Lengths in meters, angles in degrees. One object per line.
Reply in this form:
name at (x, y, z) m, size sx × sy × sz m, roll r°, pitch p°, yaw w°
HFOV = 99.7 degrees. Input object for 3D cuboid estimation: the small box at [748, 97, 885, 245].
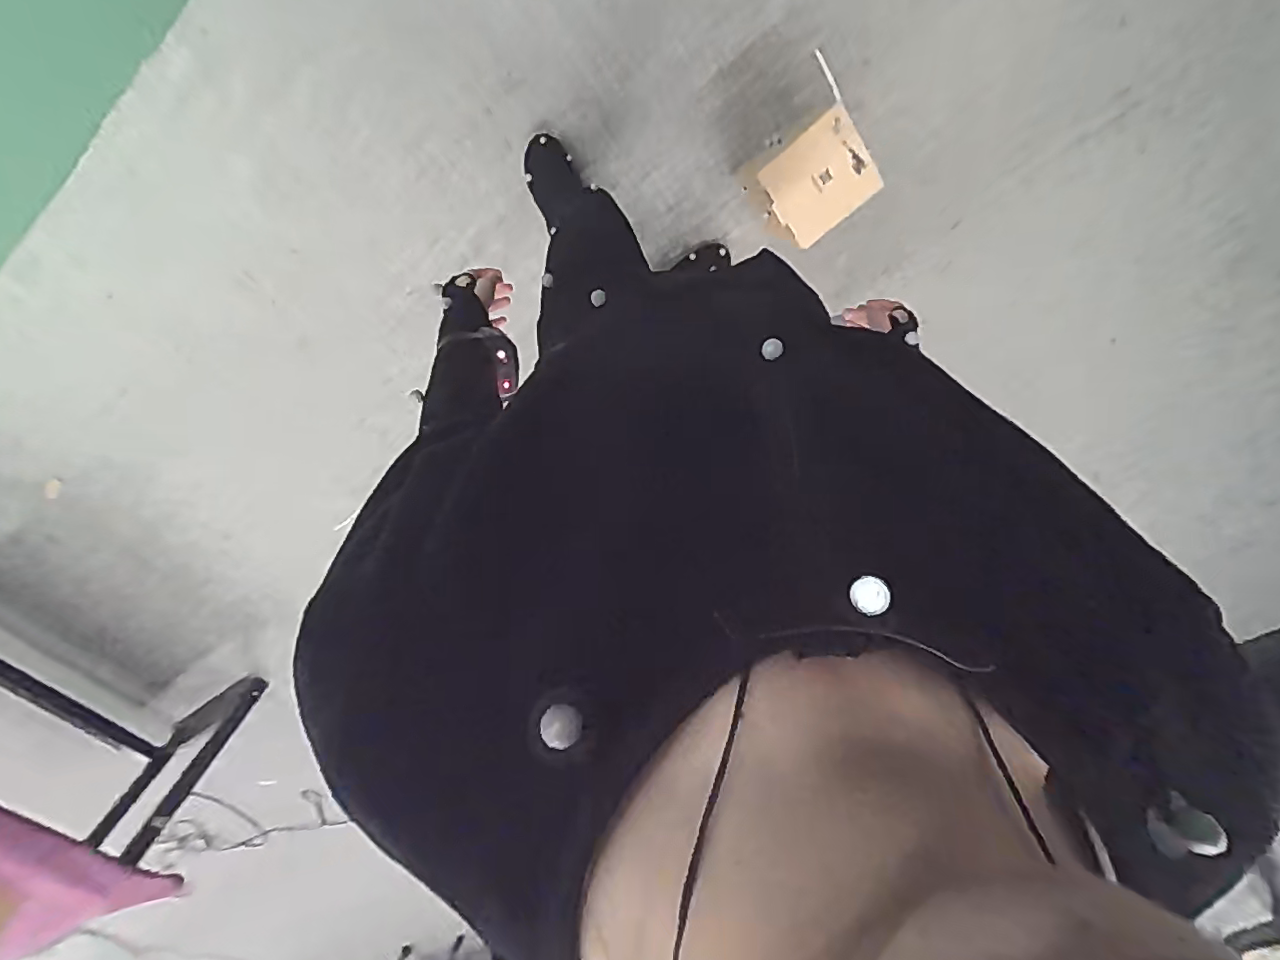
small box at (0.322, -0.581, 1.027) m, size 0.179 × 0.176 × 0.168 m, roll -35°, pitch 116°, yaw 18°
